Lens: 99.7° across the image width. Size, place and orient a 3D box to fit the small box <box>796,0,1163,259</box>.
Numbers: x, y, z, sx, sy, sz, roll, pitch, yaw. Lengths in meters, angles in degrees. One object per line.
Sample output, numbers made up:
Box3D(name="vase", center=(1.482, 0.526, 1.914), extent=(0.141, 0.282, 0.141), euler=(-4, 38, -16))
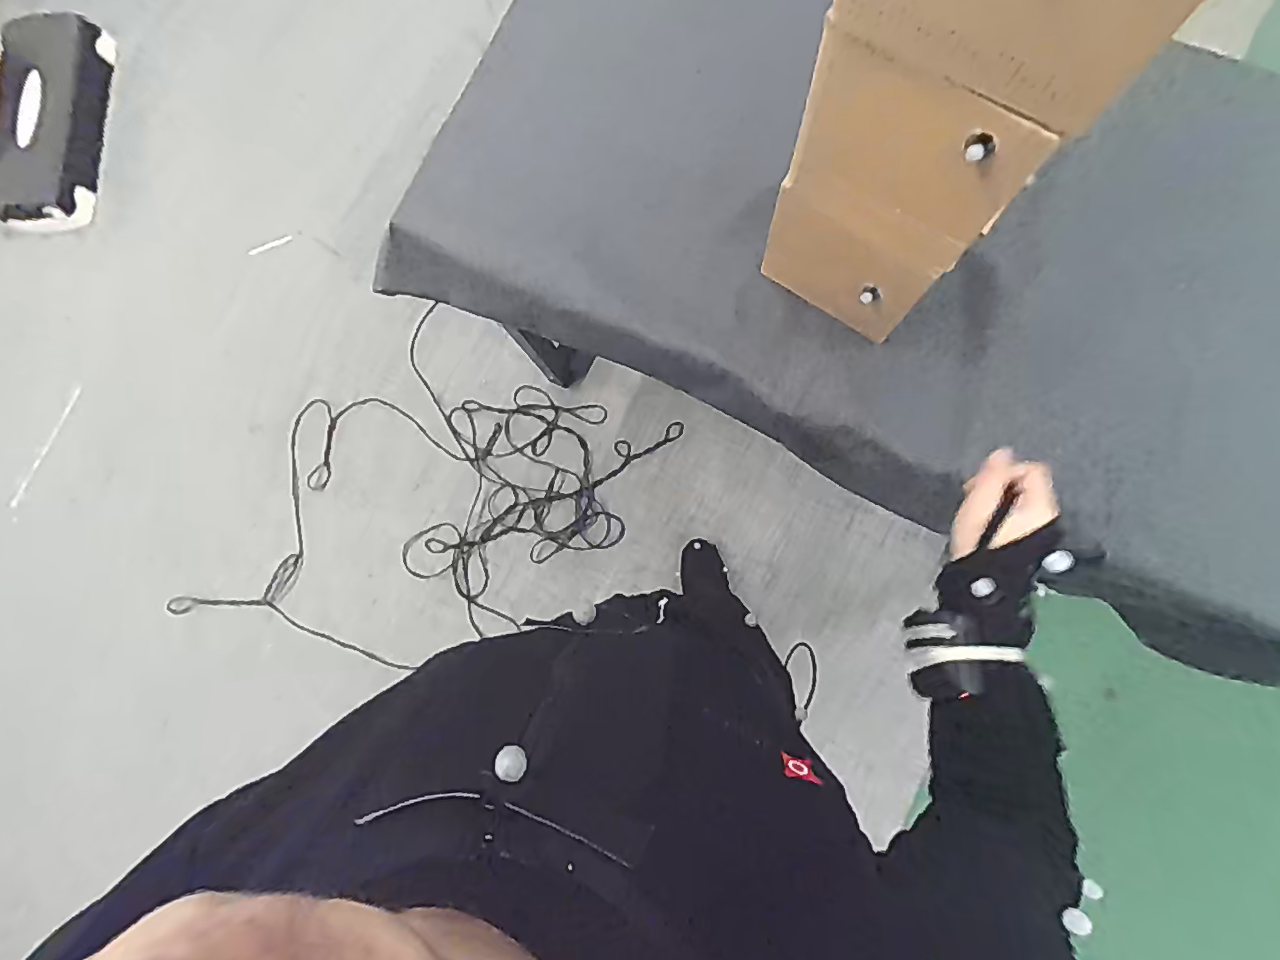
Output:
Box3D(name="small box", center=(0.251, -0.316, 0.435), extent=(0.179, 0.176, 0.168), euler=(35, 86, 8))

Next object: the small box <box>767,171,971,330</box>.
Box3D(name="small box", center=(0.263, -0.290, 0.595), extent=(0.179, 0.176, 0.168), euler=(35, 86, 9))
